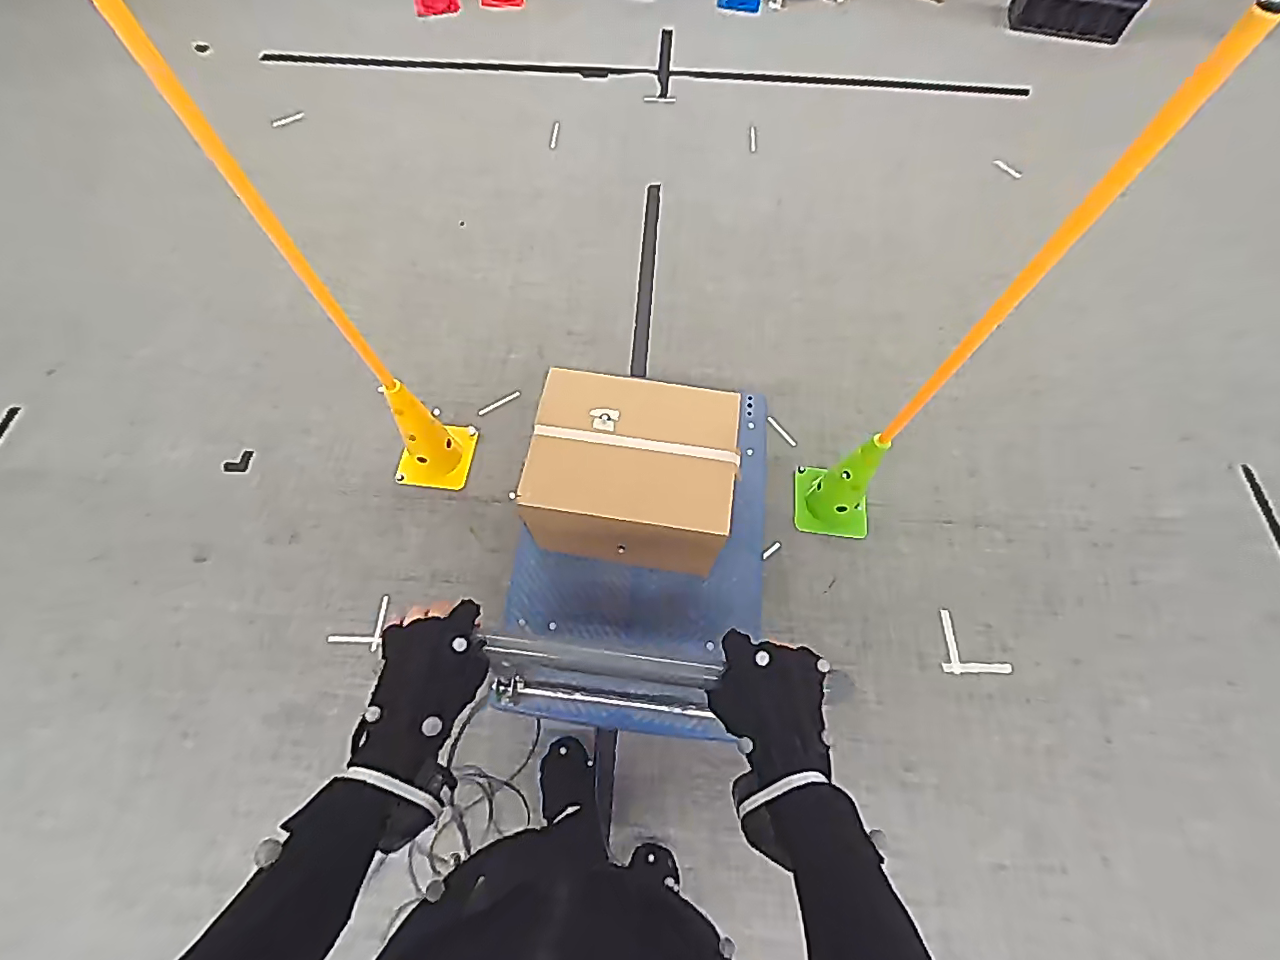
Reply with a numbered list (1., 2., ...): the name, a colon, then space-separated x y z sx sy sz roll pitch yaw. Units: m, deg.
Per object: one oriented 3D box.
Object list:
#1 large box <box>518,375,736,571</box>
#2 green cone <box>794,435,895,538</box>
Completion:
1. large box: -0.014 -0.001 1.214 0.408 0.320 0.320 9 66 4
2. green cone: 0.545 -0.009 1.385 0.202 0.368 0.200 8 66 1
